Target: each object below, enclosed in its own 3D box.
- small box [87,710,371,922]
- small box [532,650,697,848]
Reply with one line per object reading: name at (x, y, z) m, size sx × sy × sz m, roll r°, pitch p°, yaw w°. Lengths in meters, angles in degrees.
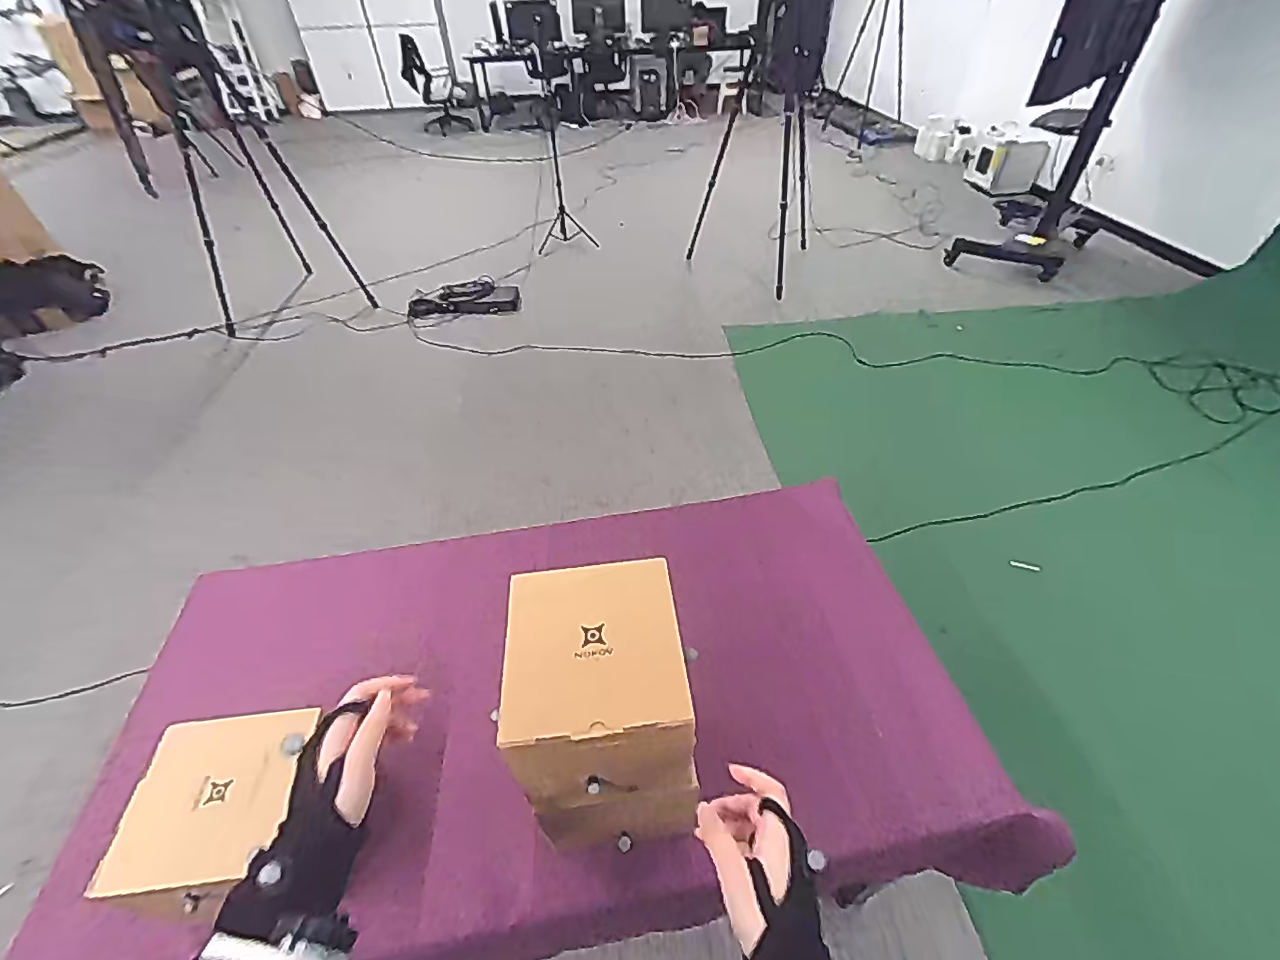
small box at (-0.450, 0.393, 0.632) m, size 0.179 × 0.176 × 0.168 m, roll -5°, pitch 44°, yaw -4°
small box at (-0.034, 0.335, 0.675) m, size 0.179 × 0.176 × 0.168 m, roll -6°, pitch 44°, yaw -5°
